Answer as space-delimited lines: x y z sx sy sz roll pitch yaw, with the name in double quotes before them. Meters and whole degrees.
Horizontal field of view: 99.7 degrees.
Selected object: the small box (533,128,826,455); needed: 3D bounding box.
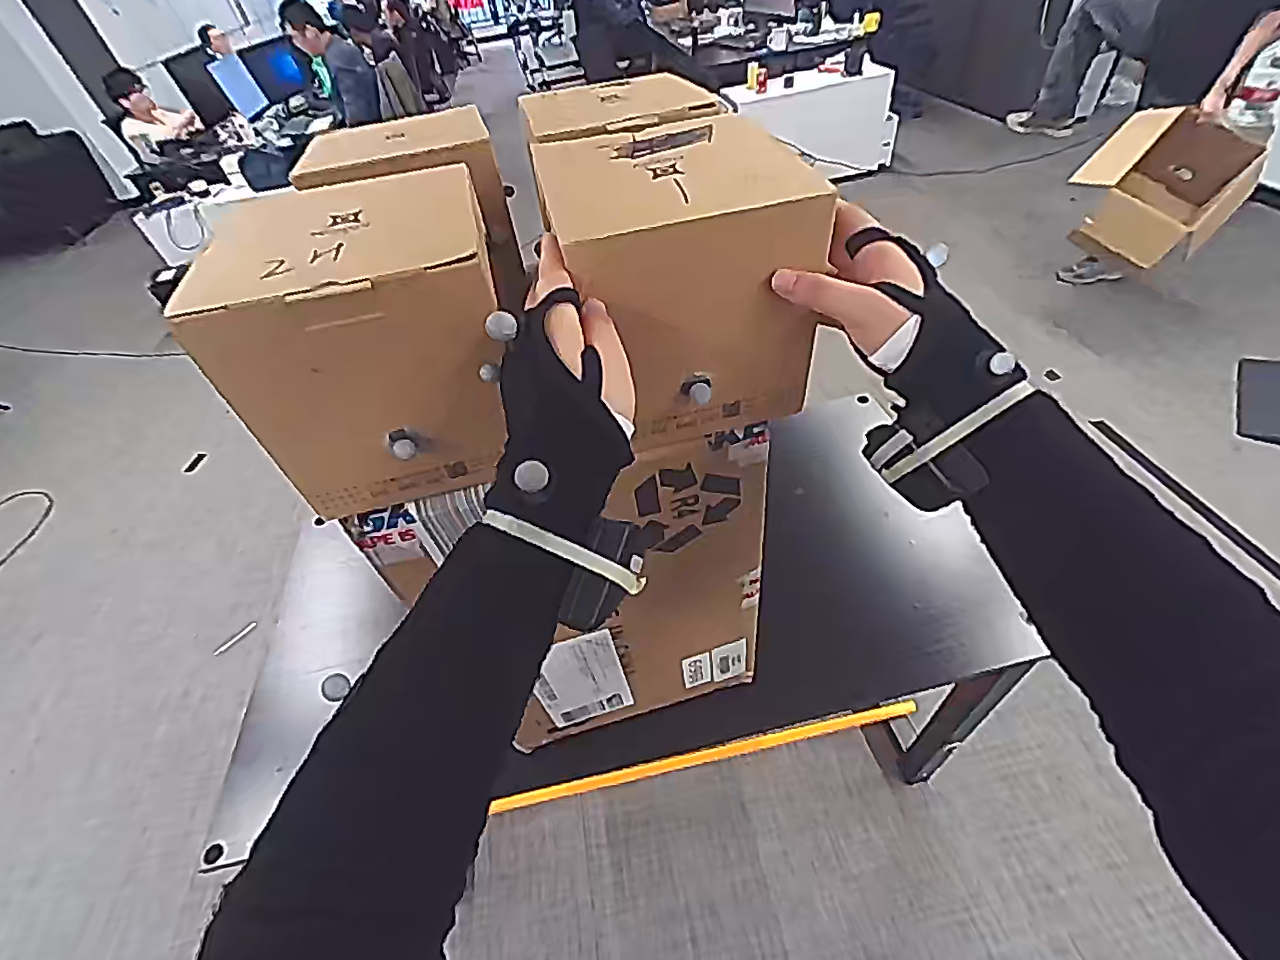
"small box" 0.020 -0.147 0.424 0.168 0.176 0.179 -14 47 -4
